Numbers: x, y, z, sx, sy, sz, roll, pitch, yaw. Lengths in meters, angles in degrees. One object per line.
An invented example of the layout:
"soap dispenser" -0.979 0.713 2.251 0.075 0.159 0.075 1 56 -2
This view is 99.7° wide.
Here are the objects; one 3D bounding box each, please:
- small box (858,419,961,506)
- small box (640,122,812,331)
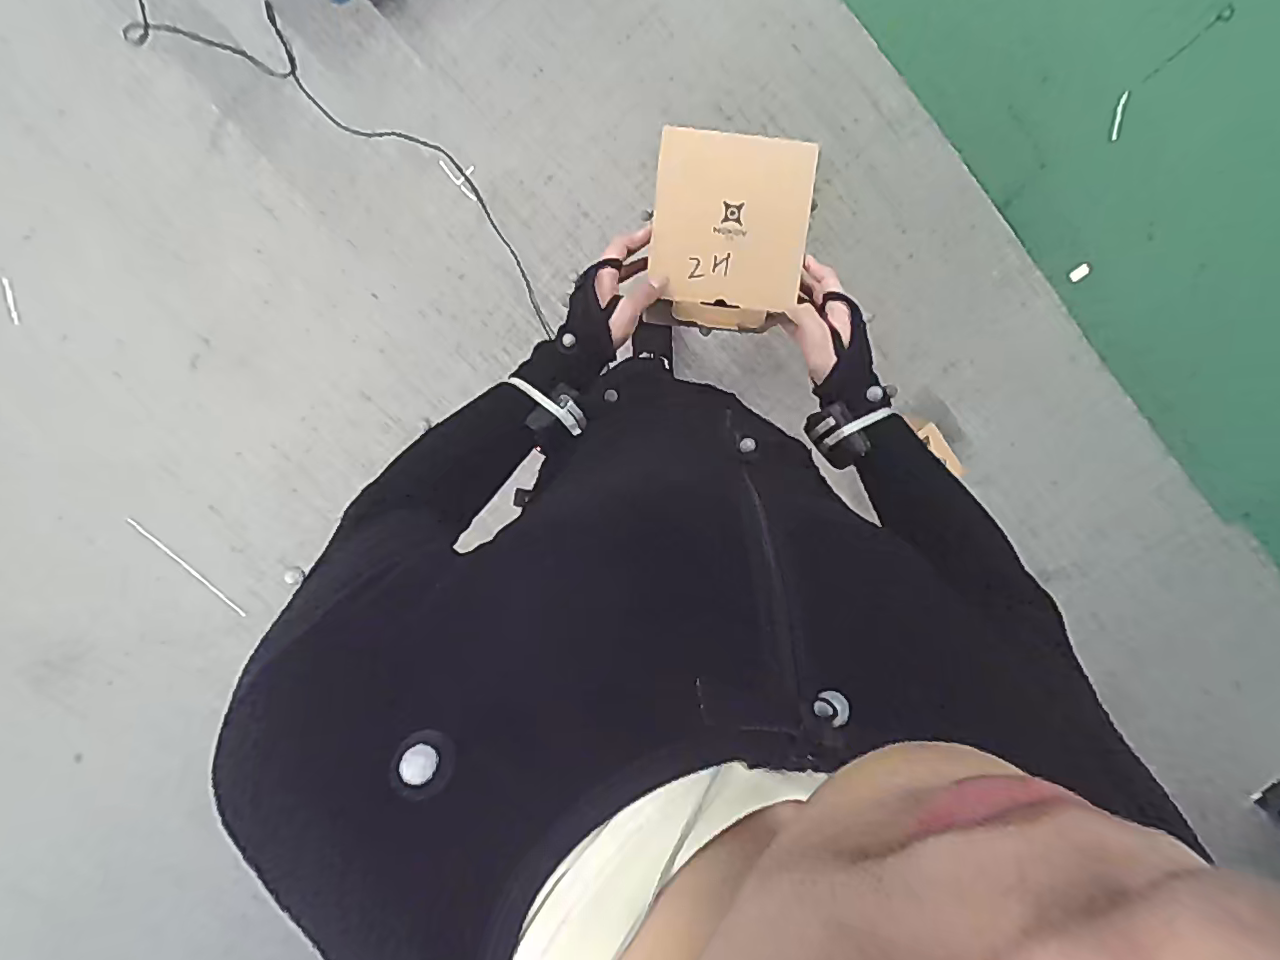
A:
"small box" 0.754 -0.058 1.535 0.168 0.176 0.179 -36 101 11
"small box" 0.090 -0.287 0.649 0.168 0.176 0.179 6 98 -1
